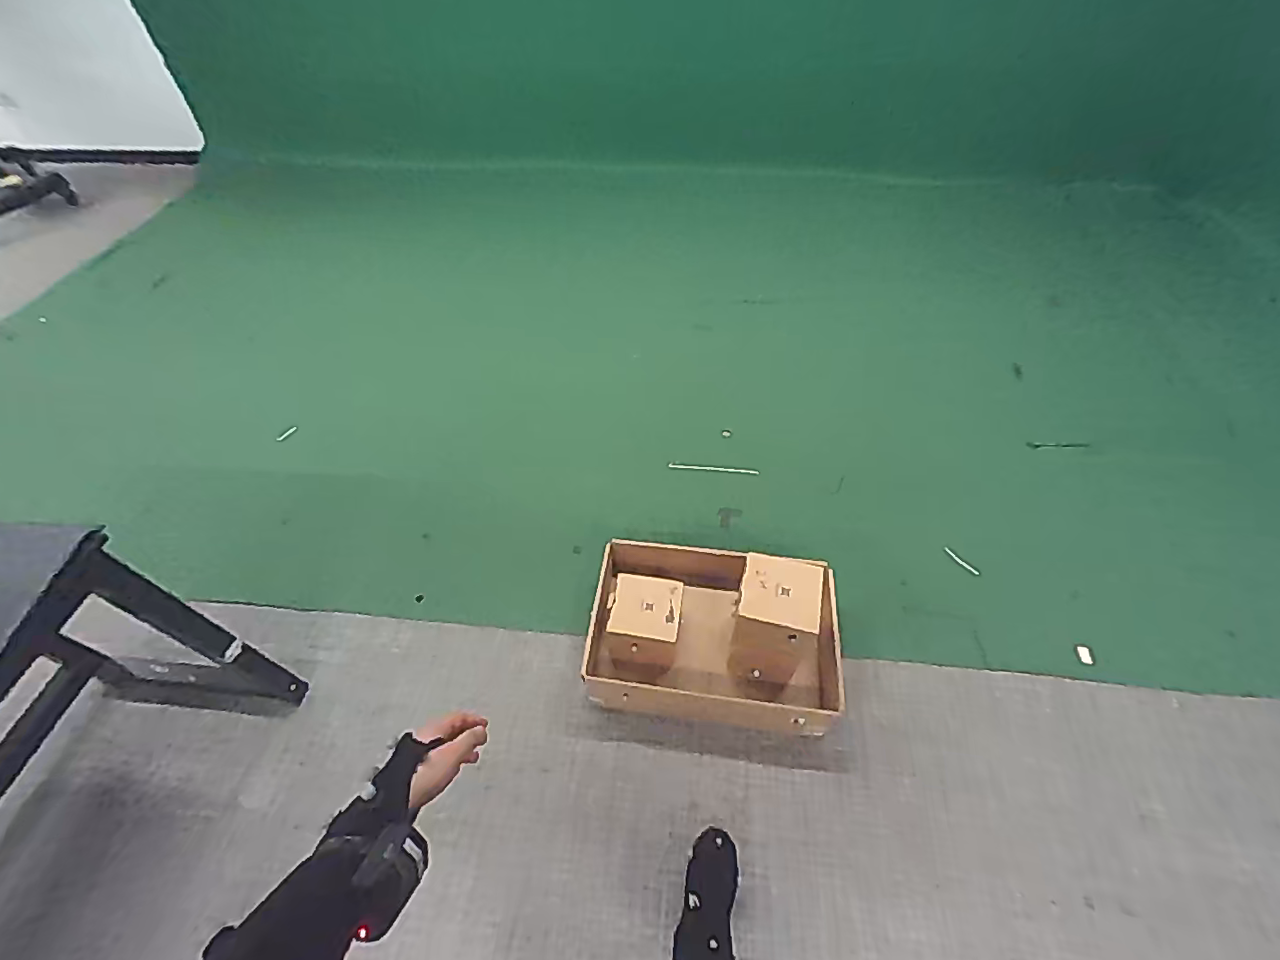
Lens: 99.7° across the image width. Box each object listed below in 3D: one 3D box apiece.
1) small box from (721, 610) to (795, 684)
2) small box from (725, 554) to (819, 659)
[{"bbox_3d":[0.307,0.398,1.394,0.168,0.176,0.179,11,54,10],"label":"small box"},{"bbox_3d":[0.305,0.300,1.262,0.179,0.176,0.168,11,53,10],"label":"small box"}]
